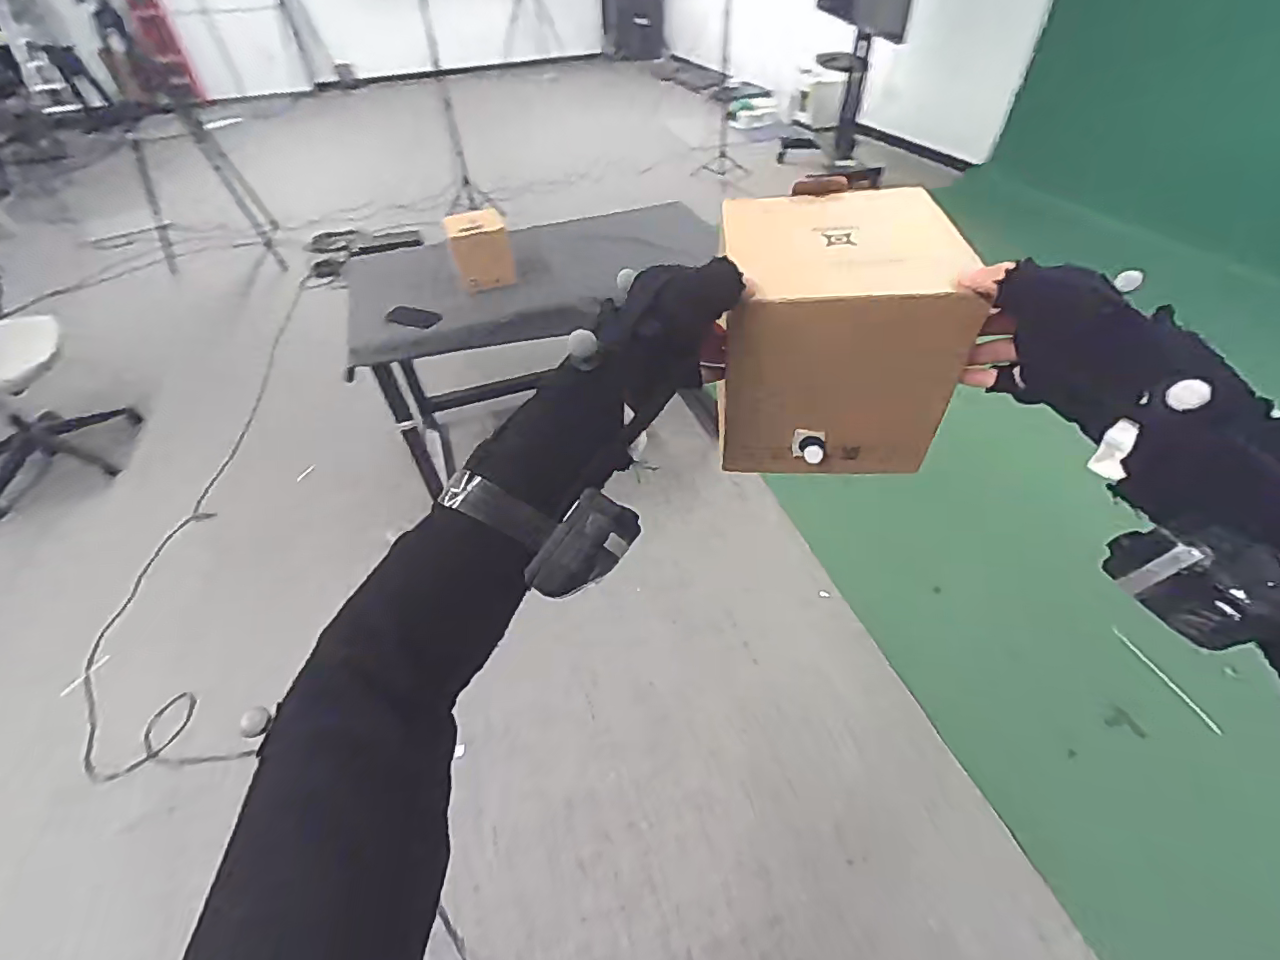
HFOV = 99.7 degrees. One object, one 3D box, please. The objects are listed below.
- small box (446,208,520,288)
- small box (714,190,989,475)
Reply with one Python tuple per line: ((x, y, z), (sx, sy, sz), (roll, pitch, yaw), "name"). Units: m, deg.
((-0.472, -0.697, 1.635), (0.168, 0.176, 0.179), (-17, 46, -14), "small box")
((0.150, -0.124, 0.462), (0.168, 0.176, 0.179), (-1, 49, 5), "small box")
